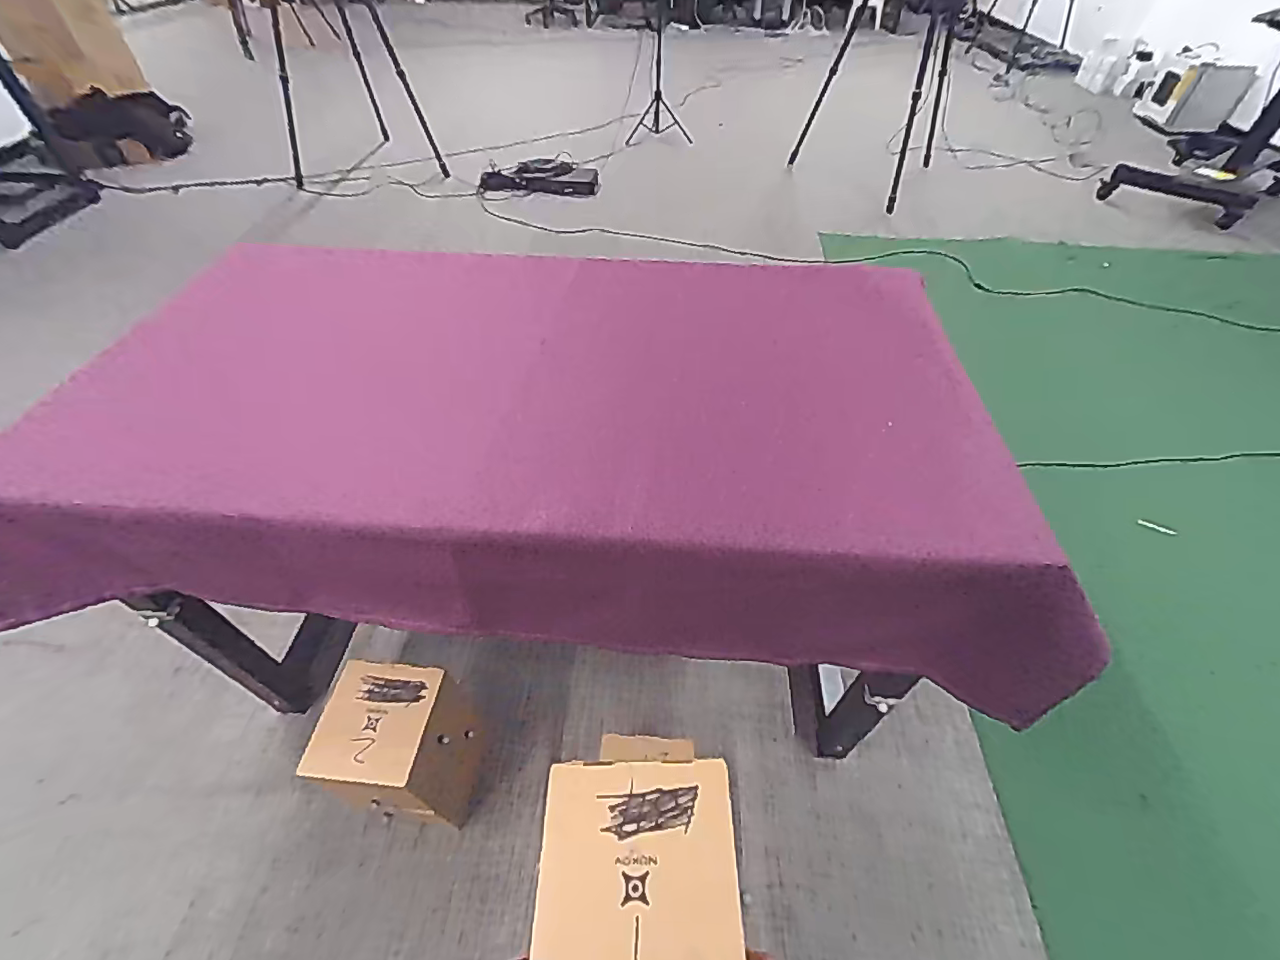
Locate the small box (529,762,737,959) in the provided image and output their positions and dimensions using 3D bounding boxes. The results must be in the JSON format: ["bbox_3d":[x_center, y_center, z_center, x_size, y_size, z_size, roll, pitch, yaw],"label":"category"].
[{"bbox_3d":[0.002,0.389,0.515,0.168,0.176,0.179,-3,47,5],"label":"small box"}]
